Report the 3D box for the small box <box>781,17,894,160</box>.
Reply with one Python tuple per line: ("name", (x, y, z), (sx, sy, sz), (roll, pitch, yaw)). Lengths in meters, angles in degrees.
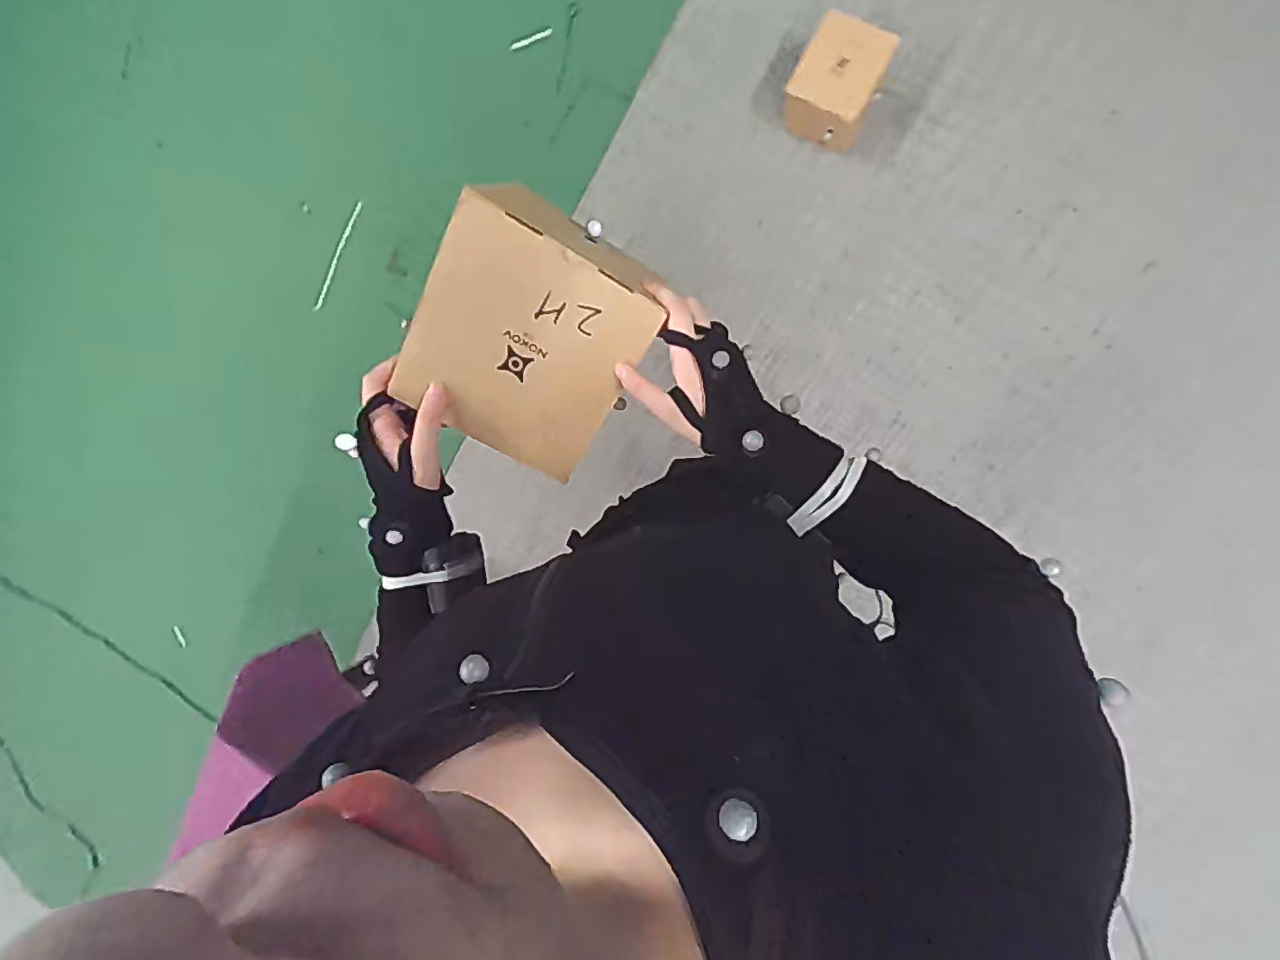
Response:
("small box", (0.435, -0.865, 1.215), (0.168, 0.176, 0.179), (33, 103, 8))
